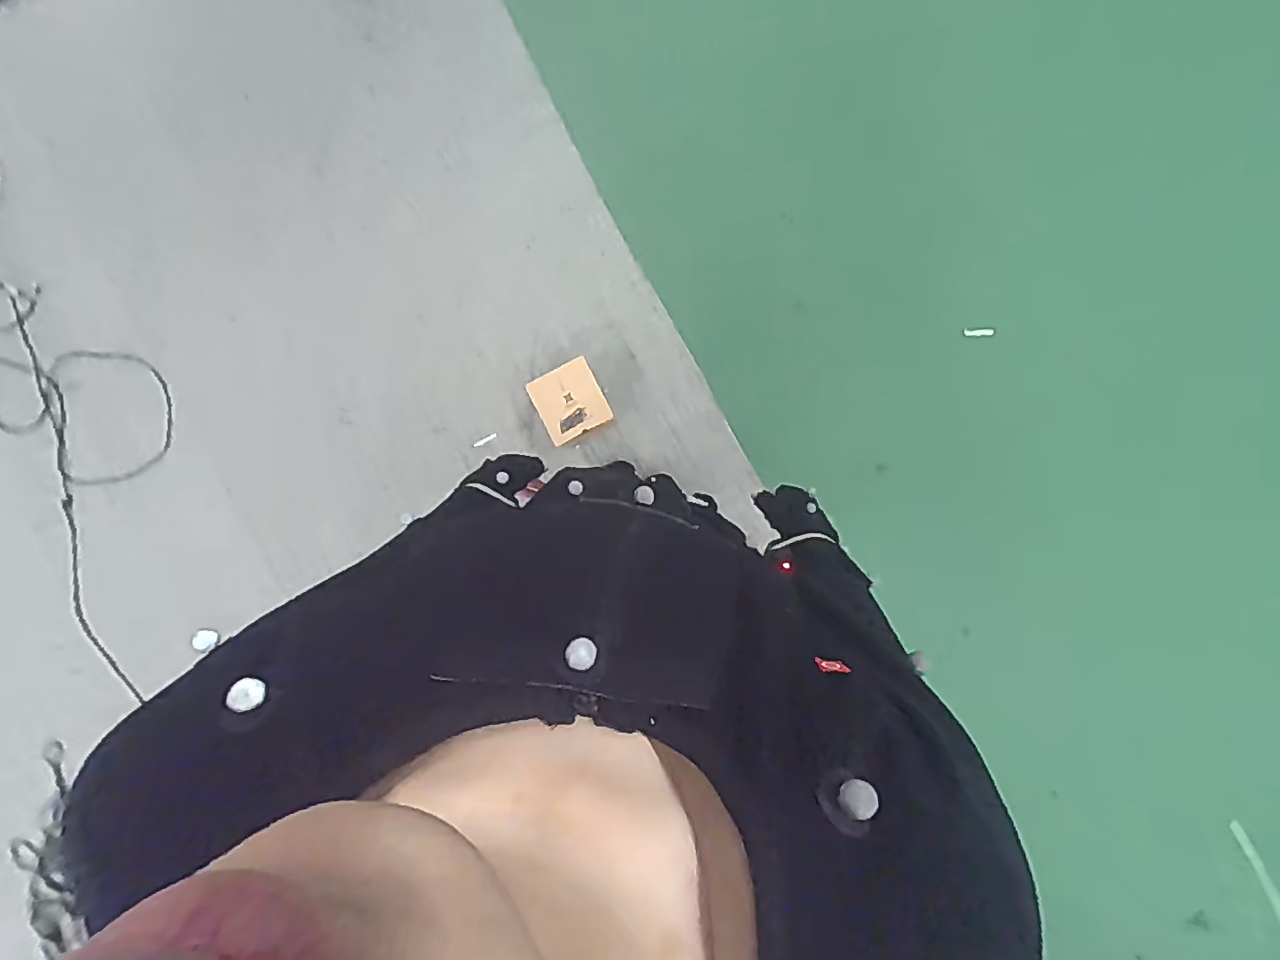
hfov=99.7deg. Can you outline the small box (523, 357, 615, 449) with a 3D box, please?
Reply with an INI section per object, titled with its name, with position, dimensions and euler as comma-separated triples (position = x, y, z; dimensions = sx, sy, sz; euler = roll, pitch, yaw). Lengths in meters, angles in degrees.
[small box]
position = -0.175, -0.192, 1.402
dimensions = 0.168, 0.176, 0.179
euler = -27, 90, 2
